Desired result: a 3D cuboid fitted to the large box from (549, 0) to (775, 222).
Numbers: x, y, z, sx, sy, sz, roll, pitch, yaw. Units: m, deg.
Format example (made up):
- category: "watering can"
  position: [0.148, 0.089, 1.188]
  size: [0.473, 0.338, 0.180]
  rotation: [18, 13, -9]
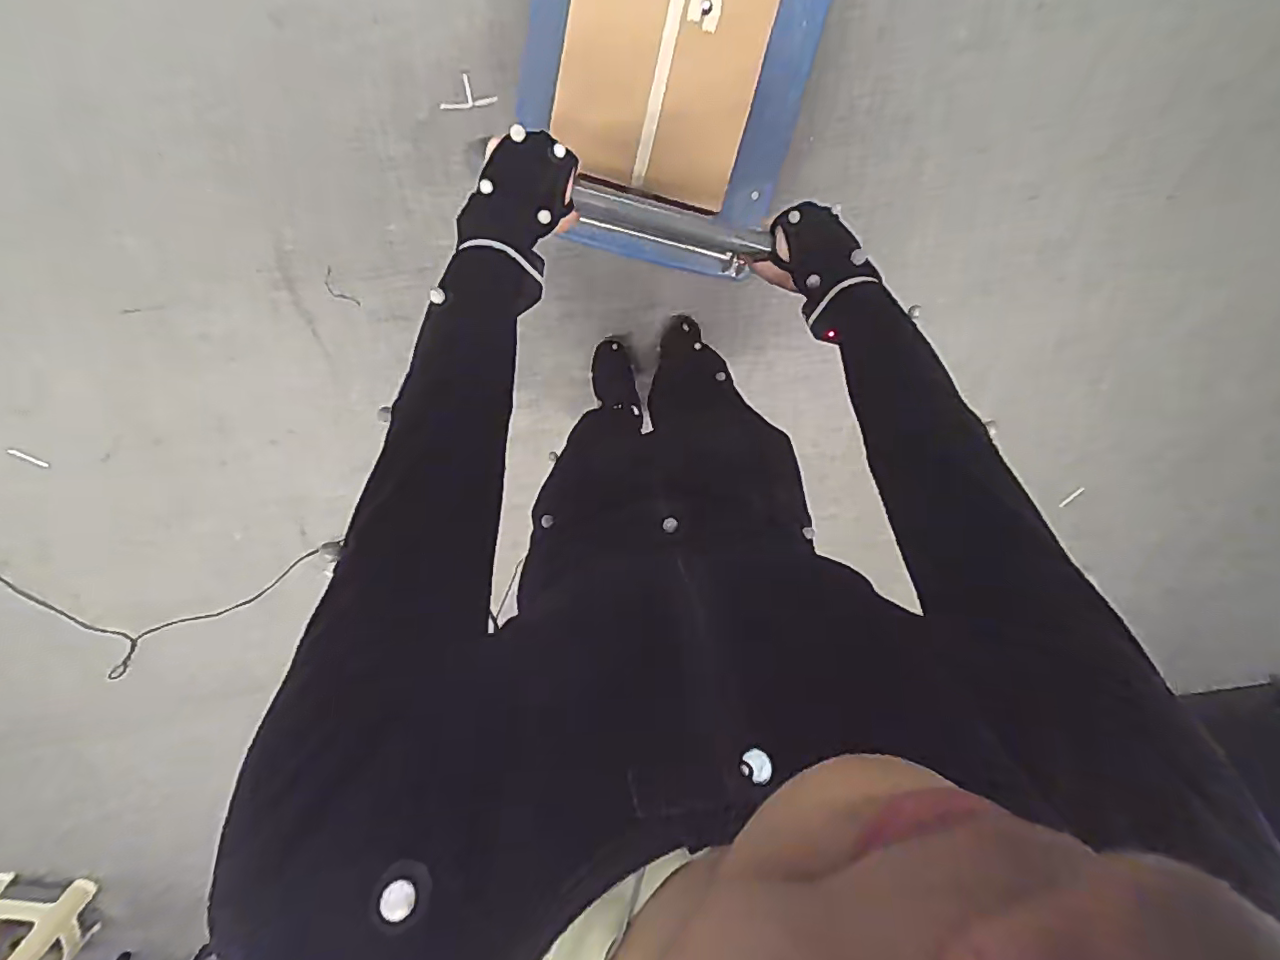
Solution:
- category: "large box"
  position: [0.028, -0.736, 0.999]
  size: [0.320, 0.320, 0.408]
  rotation: [11, 110, -9]
